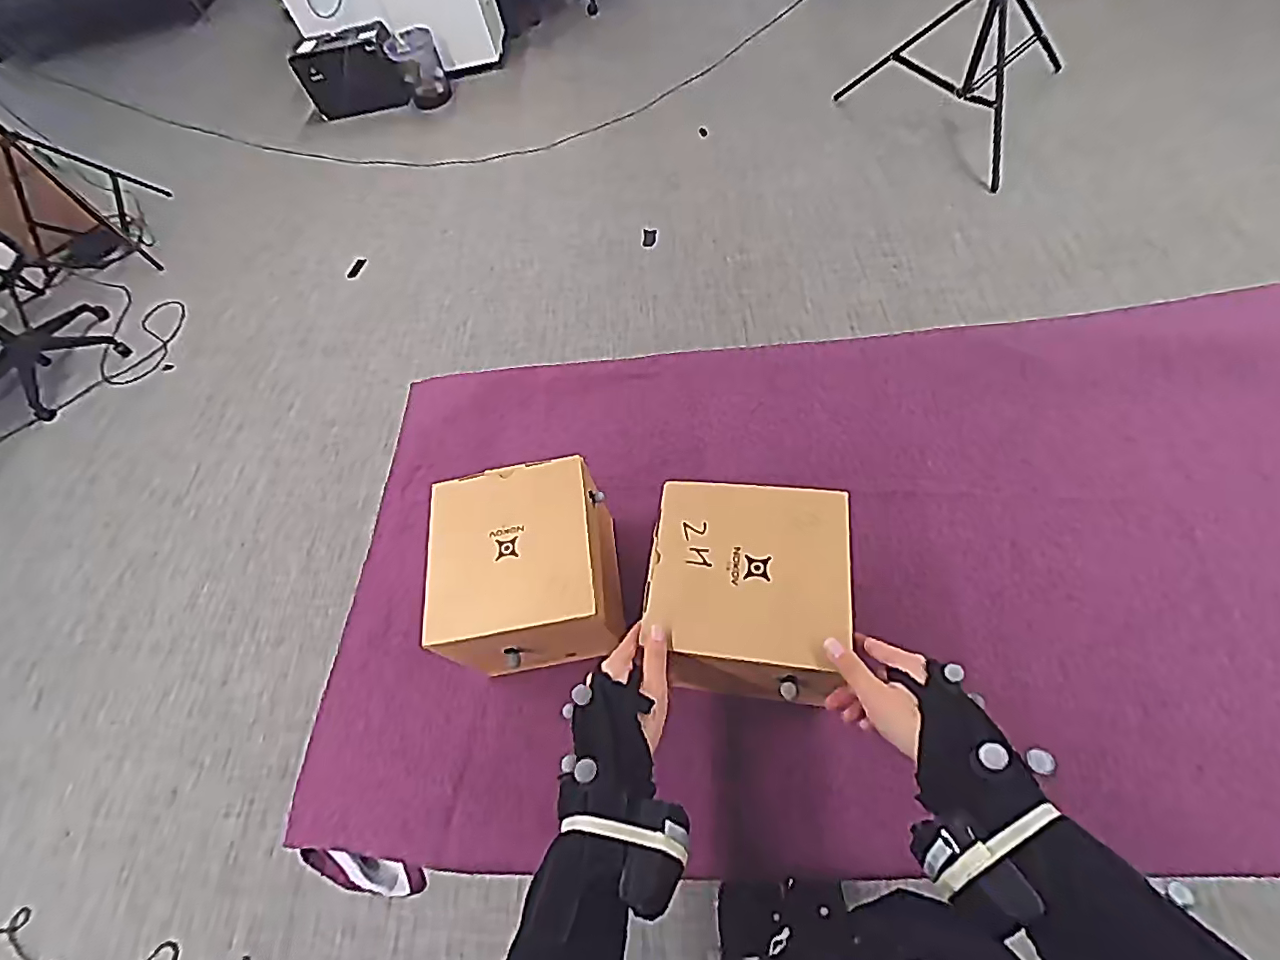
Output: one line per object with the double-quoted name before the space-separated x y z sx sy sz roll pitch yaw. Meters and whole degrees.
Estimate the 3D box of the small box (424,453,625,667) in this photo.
"small box" -0.118 0.099 0.602 0.168 0.176 0.179 -12 59 4

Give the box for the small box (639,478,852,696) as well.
"small box" 0.108 0.114 0.550 0.179 0.176 0.168 3 60 13
